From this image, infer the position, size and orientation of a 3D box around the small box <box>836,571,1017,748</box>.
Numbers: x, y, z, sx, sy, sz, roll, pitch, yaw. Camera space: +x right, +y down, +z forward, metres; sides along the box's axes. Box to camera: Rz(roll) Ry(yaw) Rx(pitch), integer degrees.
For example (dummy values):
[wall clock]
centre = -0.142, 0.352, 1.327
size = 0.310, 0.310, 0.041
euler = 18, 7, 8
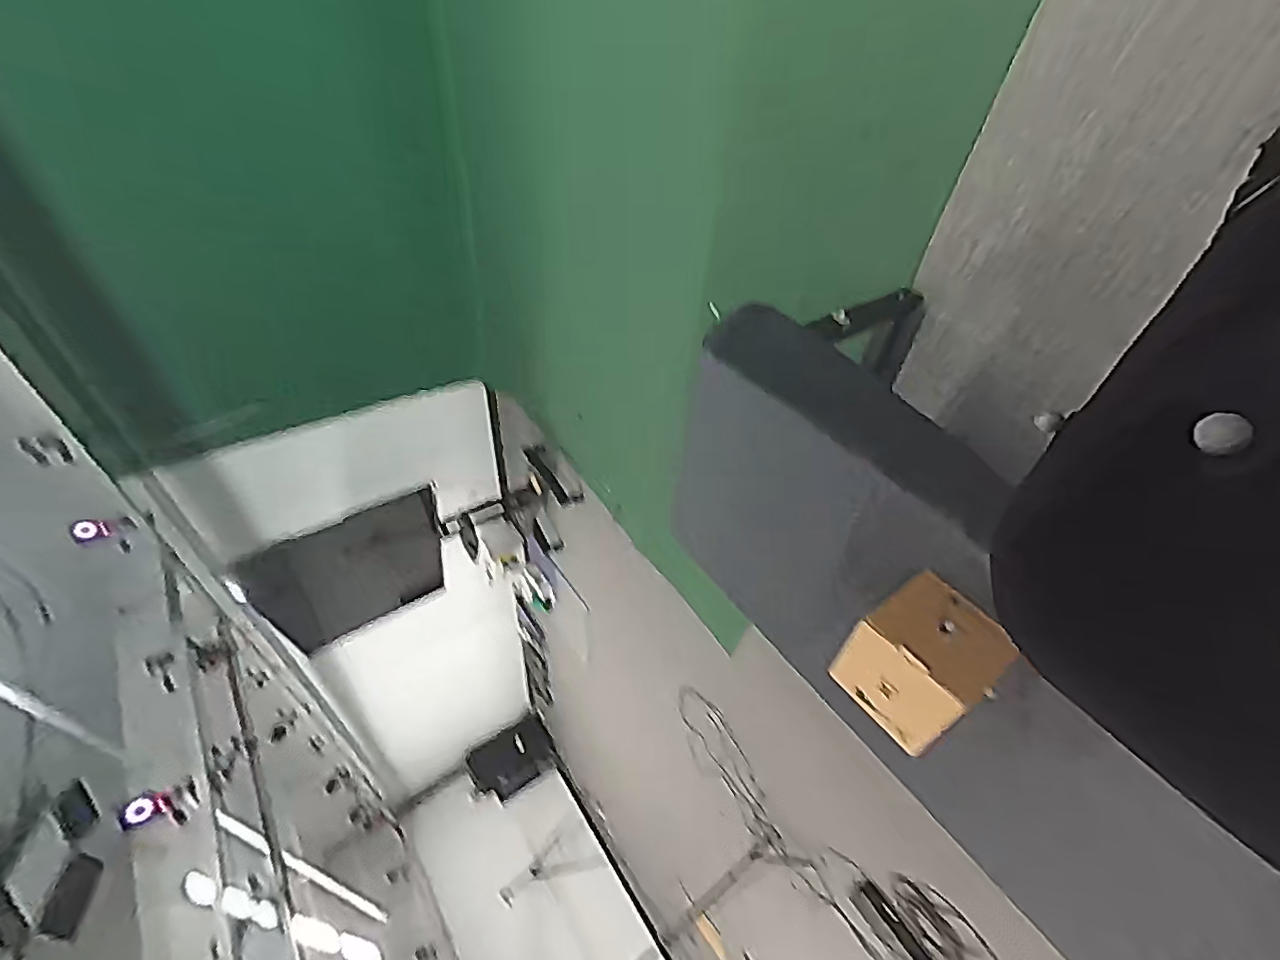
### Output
[small box]
centre = 0.453, 0.276, 0.859
size = 0.168, 0.176, 0.179
euler = 45, 146, 34
